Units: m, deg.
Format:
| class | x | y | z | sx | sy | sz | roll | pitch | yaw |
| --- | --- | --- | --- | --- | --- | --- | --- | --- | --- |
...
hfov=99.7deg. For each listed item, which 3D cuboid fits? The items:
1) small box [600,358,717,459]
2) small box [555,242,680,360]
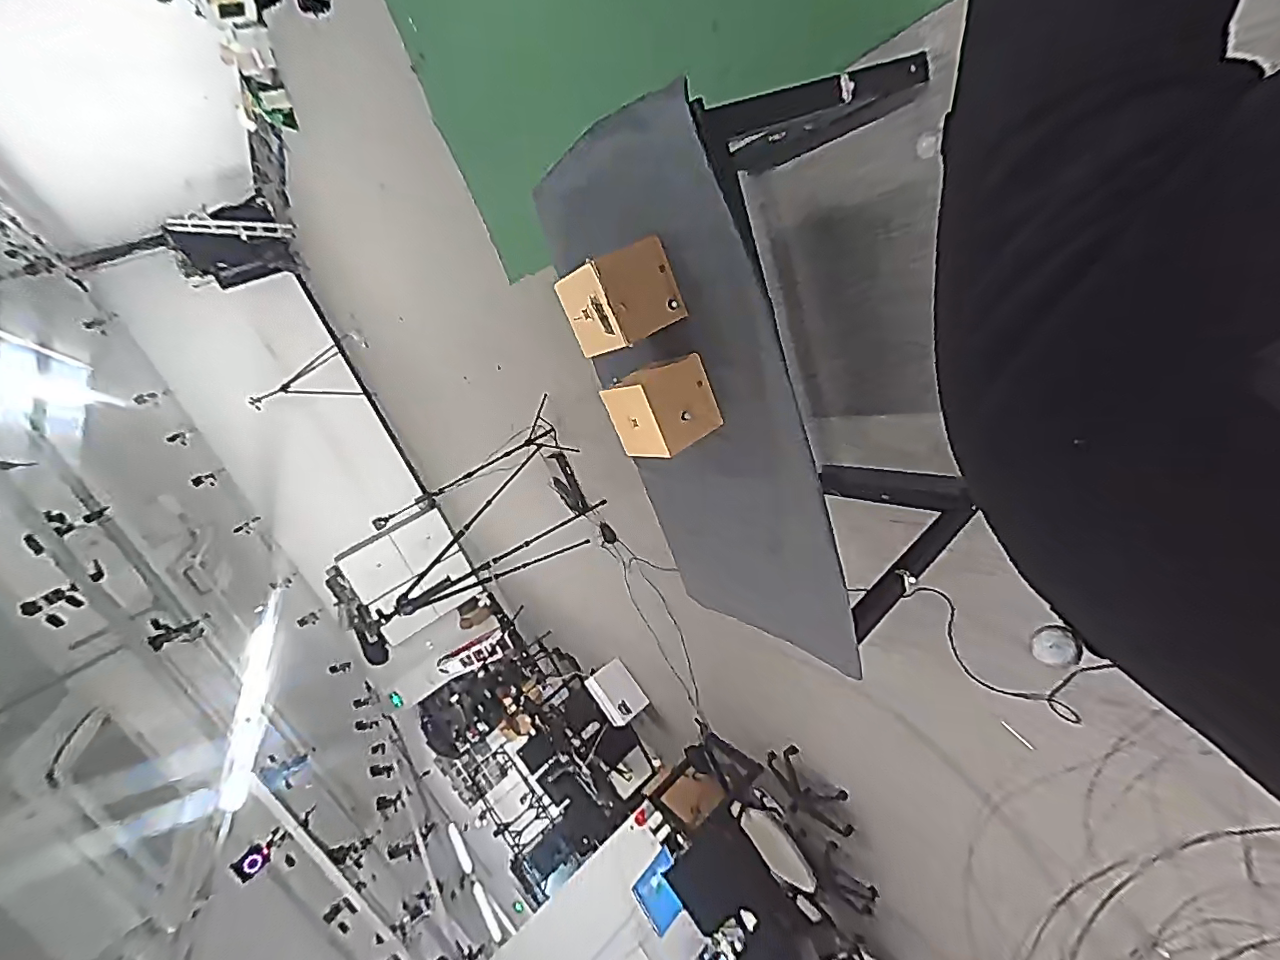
| class | x | y | z | sx | sy | sz | roll | pitch | yaw |
| --- | --- | --- | --- | --- | --- | --- | --- | --- | --- |
| small box | 0.049 | -0.158 | 1.191 | 0.179 | 0.176 | 0.168 | 6 | 125 | 58 |
| small box | -0.039 | -0.365 | 1.109 | 0.179 | 0.176 | 0.168 | 6 | 124 | 58 |
